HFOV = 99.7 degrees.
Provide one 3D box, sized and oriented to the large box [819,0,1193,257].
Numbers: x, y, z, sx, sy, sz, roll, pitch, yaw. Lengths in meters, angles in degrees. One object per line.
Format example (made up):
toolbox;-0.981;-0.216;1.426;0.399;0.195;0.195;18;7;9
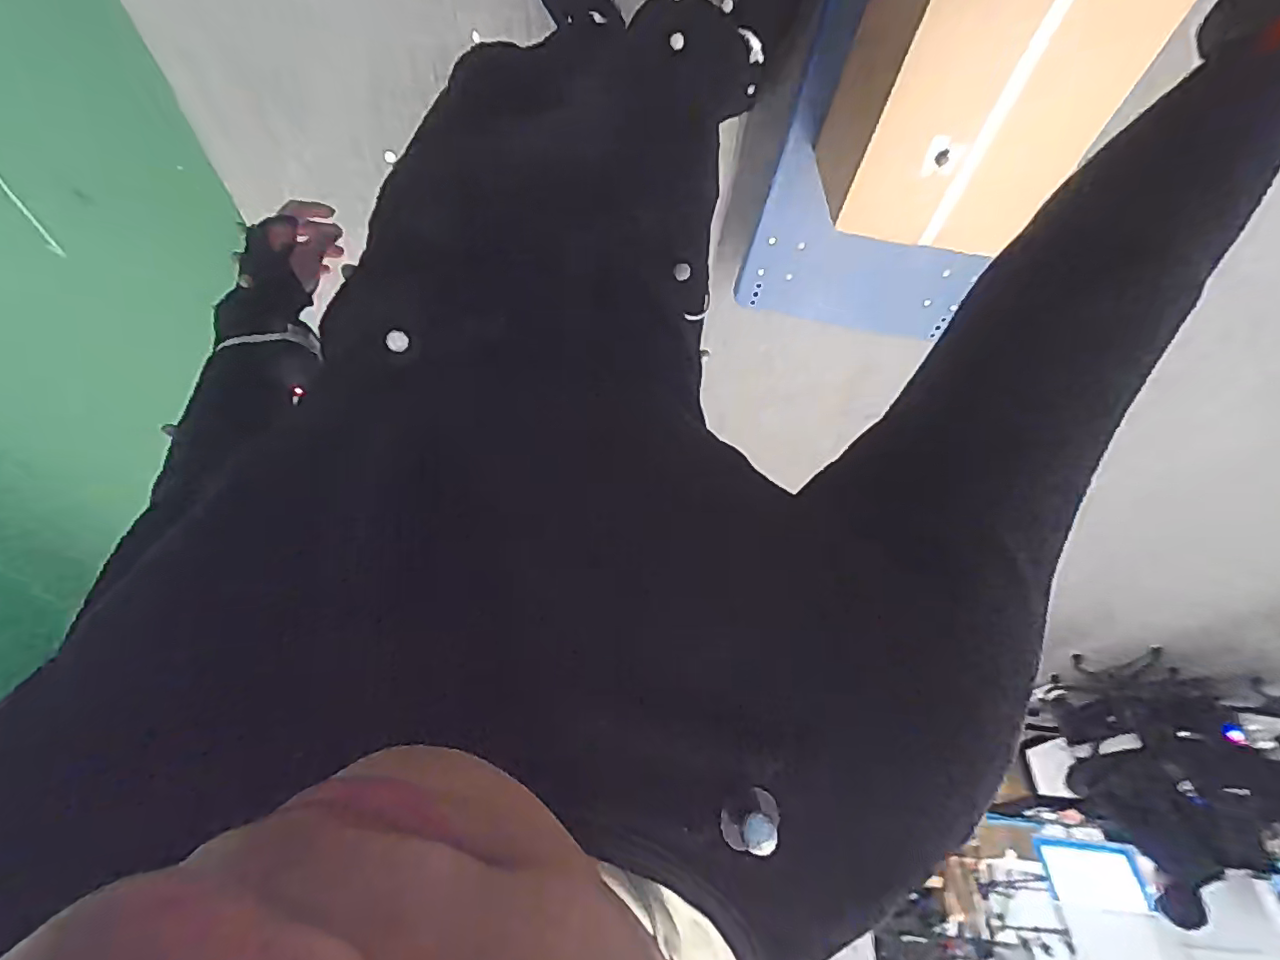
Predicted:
large box;0.520;-0.640;0.856;0.320;0.320;0.408;9;143;-3
